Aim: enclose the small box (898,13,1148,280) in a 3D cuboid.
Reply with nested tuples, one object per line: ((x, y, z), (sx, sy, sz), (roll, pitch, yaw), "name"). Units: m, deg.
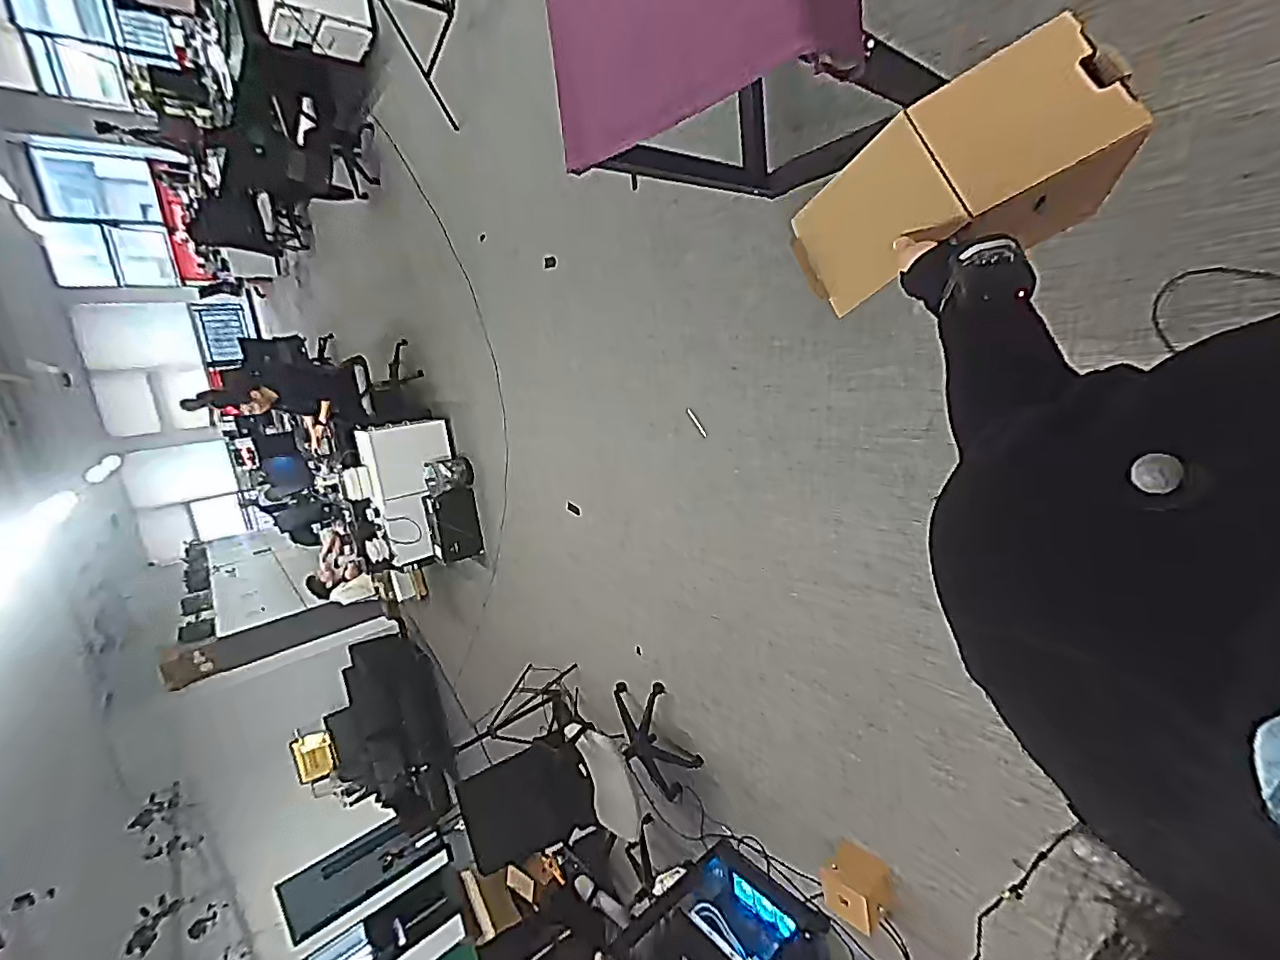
((0.430, -0.375, 0.647), (0.179, 0.176, 0.168), (-25, 75, 18), "small box")
